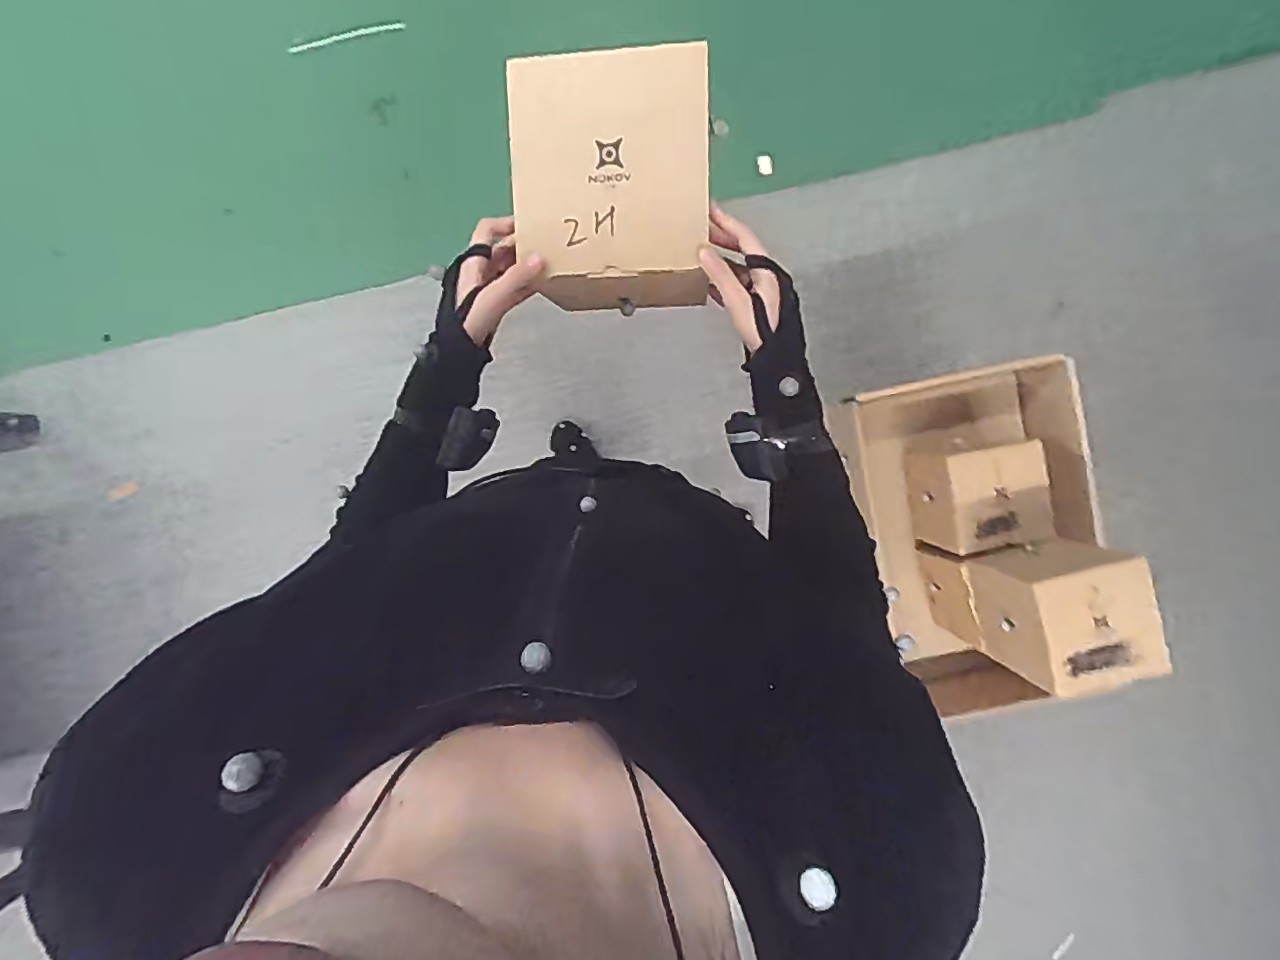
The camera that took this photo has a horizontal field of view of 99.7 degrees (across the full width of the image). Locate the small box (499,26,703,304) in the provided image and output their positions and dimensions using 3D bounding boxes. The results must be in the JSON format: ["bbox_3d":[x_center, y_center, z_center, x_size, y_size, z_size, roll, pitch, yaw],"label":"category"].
[{"bbox_3d":[-0.024,-0.277,0.517,0.168,0.176,0.179,-1,98,7],"label":"small box"}]
